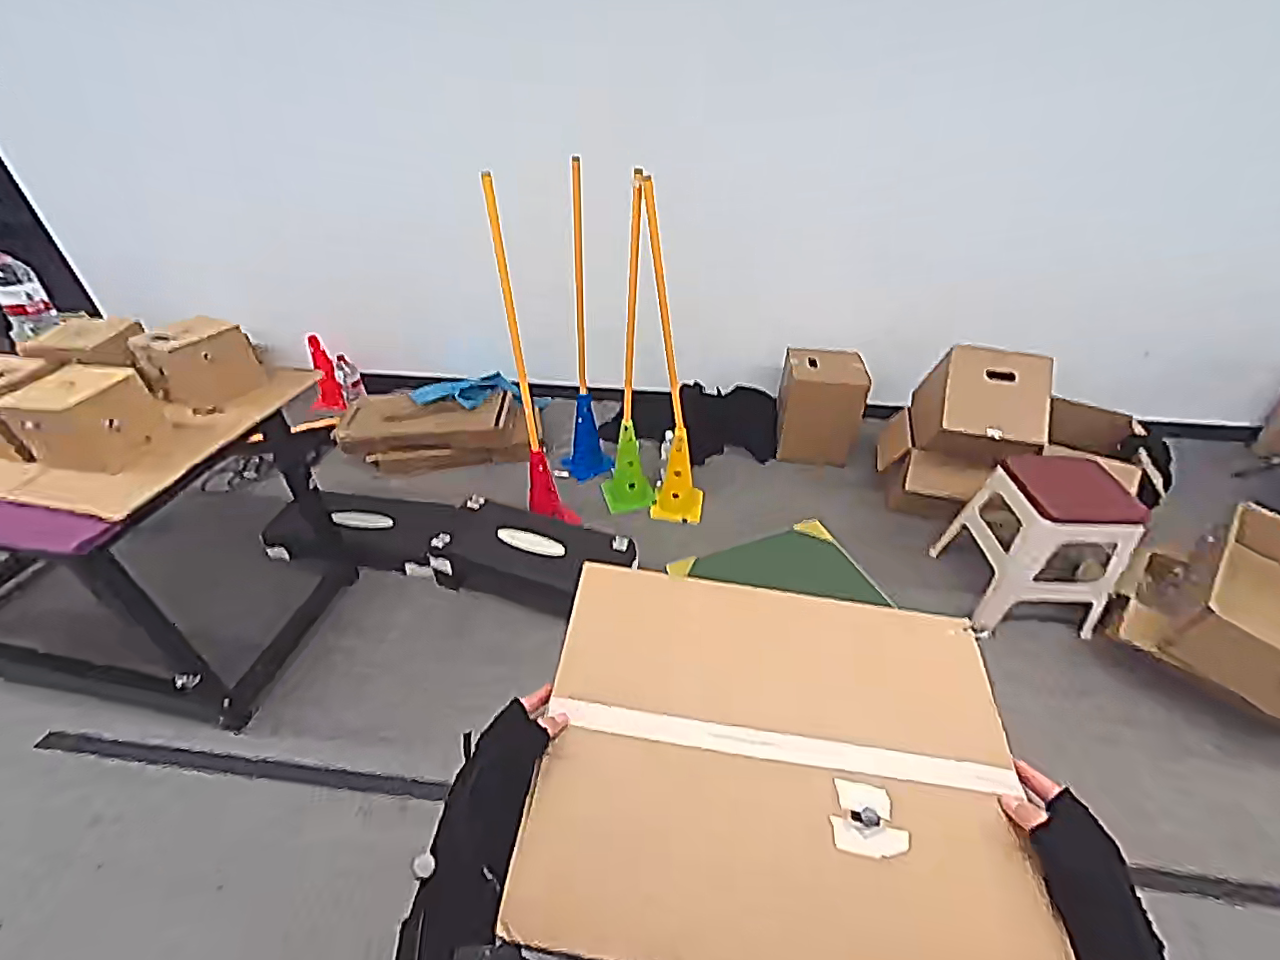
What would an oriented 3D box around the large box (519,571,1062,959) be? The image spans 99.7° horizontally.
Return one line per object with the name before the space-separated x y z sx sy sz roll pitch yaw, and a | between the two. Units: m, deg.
large box | 0.113 0.333 0.590 0.408 0.320 0.320 8 48 2
